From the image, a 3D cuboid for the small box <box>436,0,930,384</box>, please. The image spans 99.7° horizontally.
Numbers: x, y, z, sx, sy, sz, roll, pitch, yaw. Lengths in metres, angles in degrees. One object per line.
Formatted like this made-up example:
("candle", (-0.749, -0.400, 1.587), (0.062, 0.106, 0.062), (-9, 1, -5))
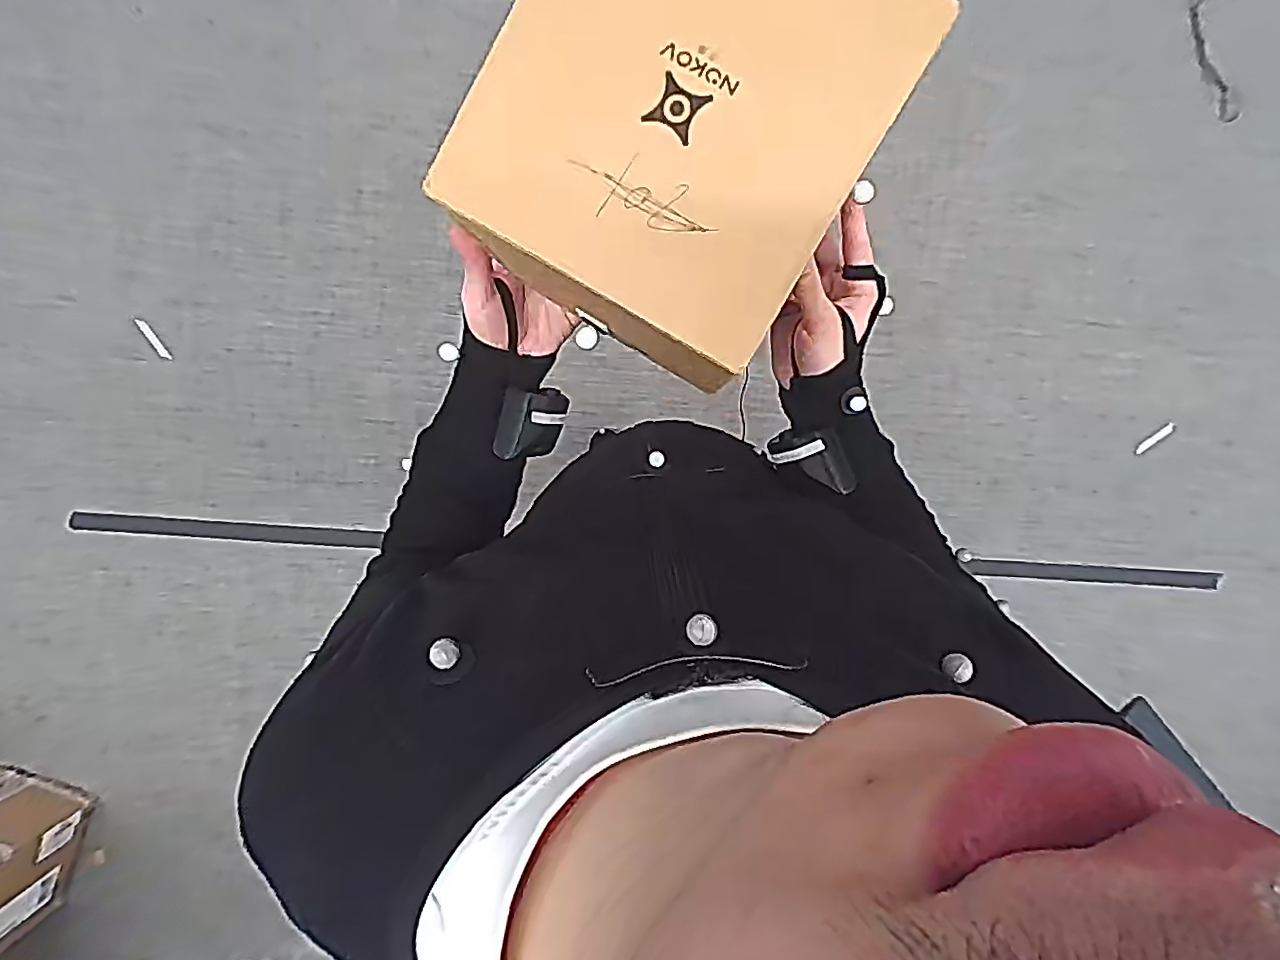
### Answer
("small box", (0.019, -0.174, 0.322), (0.168, 0.176, 0.179), (30, 97, 1))
